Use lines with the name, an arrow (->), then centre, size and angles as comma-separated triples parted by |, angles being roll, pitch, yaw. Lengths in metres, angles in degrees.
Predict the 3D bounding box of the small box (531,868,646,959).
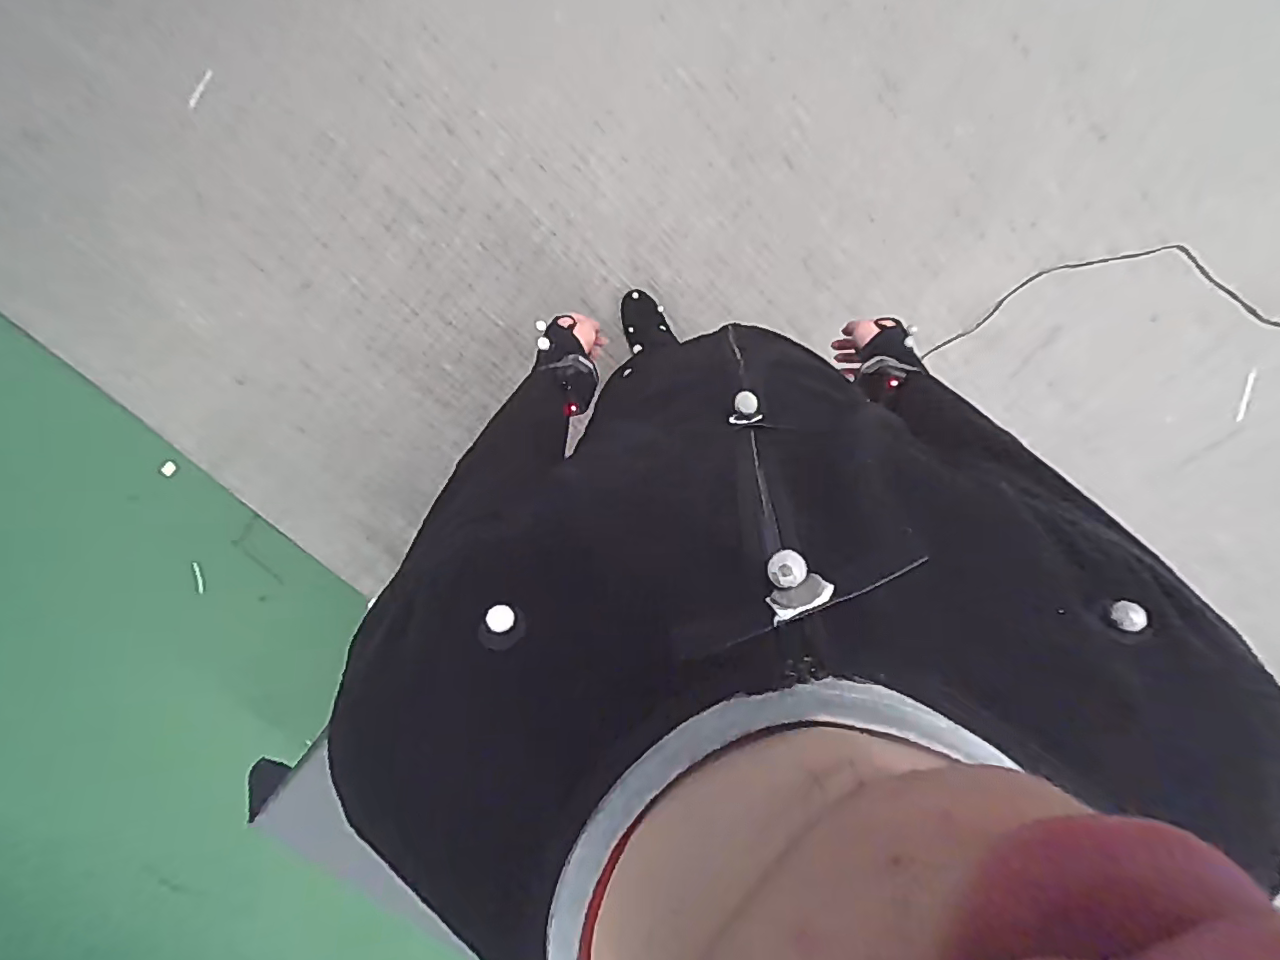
small box -> -0.101, 0.915, 1.061 | 0.168, 0.176, 0.179 | 43, 106, -11
